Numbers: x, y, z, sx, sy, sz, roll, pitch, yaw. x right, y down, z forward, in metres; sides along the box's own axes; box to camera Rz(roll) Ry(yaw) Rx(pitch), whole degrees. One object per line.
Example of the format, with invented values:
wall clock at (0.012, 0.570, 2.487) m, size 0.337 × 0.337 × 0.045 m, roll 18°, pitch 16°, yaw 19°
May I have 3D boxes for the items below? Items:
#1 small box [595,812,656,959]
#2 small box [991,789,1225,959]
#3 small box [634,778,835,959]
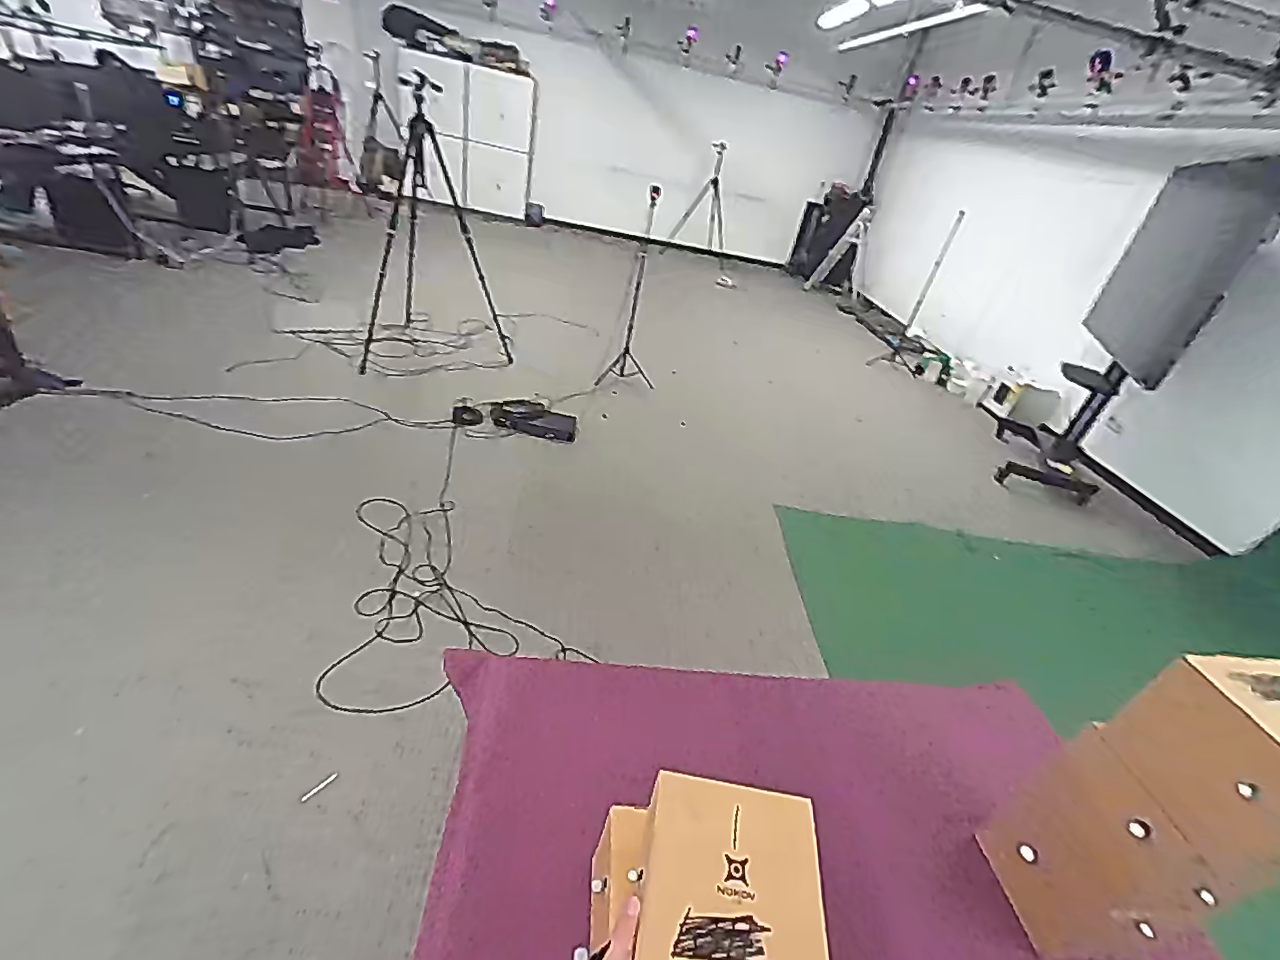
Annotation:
small box at (0.036, 0.562, 0.691) m, size 0.168 × 0.176 × 0.179 m, roll 7°, pitch 32°, yaw -6°
small box at (0.691, 0.608, 0.828) m, size 0.168 × 0.176 × 0.179 m, roll 5°, pitch 32°, yaw -8°
small box at (0.086, 0.441, 0.544) m, size 0.168 × 0.176 × 0.179 m, roll 9°, pitch 36°, yaw 4°
